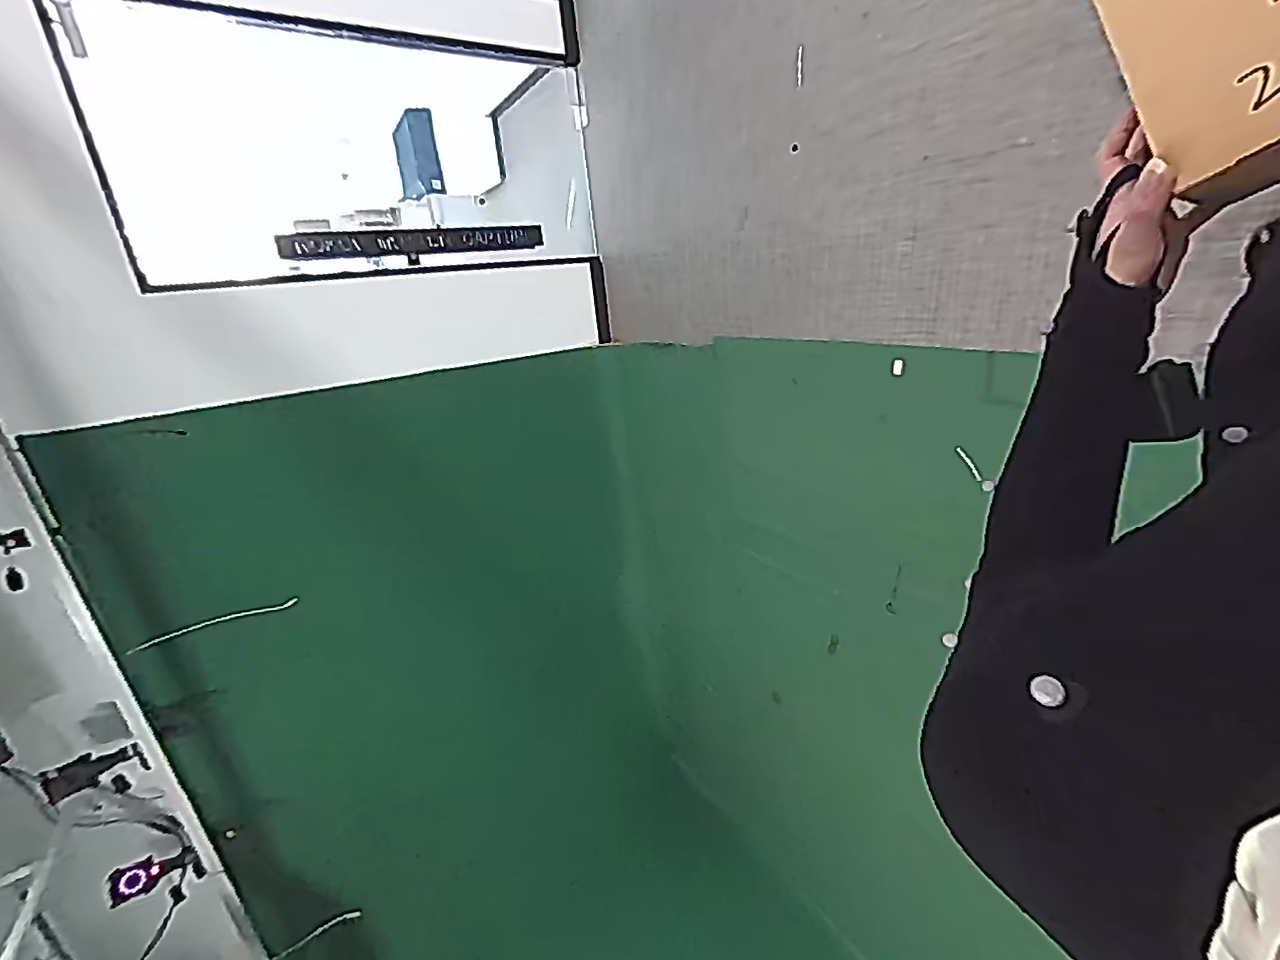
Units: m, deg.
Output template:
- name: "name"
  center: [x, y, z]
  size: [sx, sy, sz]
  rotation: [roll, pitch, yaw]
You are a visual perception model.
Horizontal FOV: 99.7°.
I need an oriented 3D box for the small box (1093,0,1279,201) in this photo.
- name: "small box"
  center: [0.438, -0.312, 0.354]
  size: [0.168, 0.176, 0.179]
  rotation: [-21, 86, 55]
